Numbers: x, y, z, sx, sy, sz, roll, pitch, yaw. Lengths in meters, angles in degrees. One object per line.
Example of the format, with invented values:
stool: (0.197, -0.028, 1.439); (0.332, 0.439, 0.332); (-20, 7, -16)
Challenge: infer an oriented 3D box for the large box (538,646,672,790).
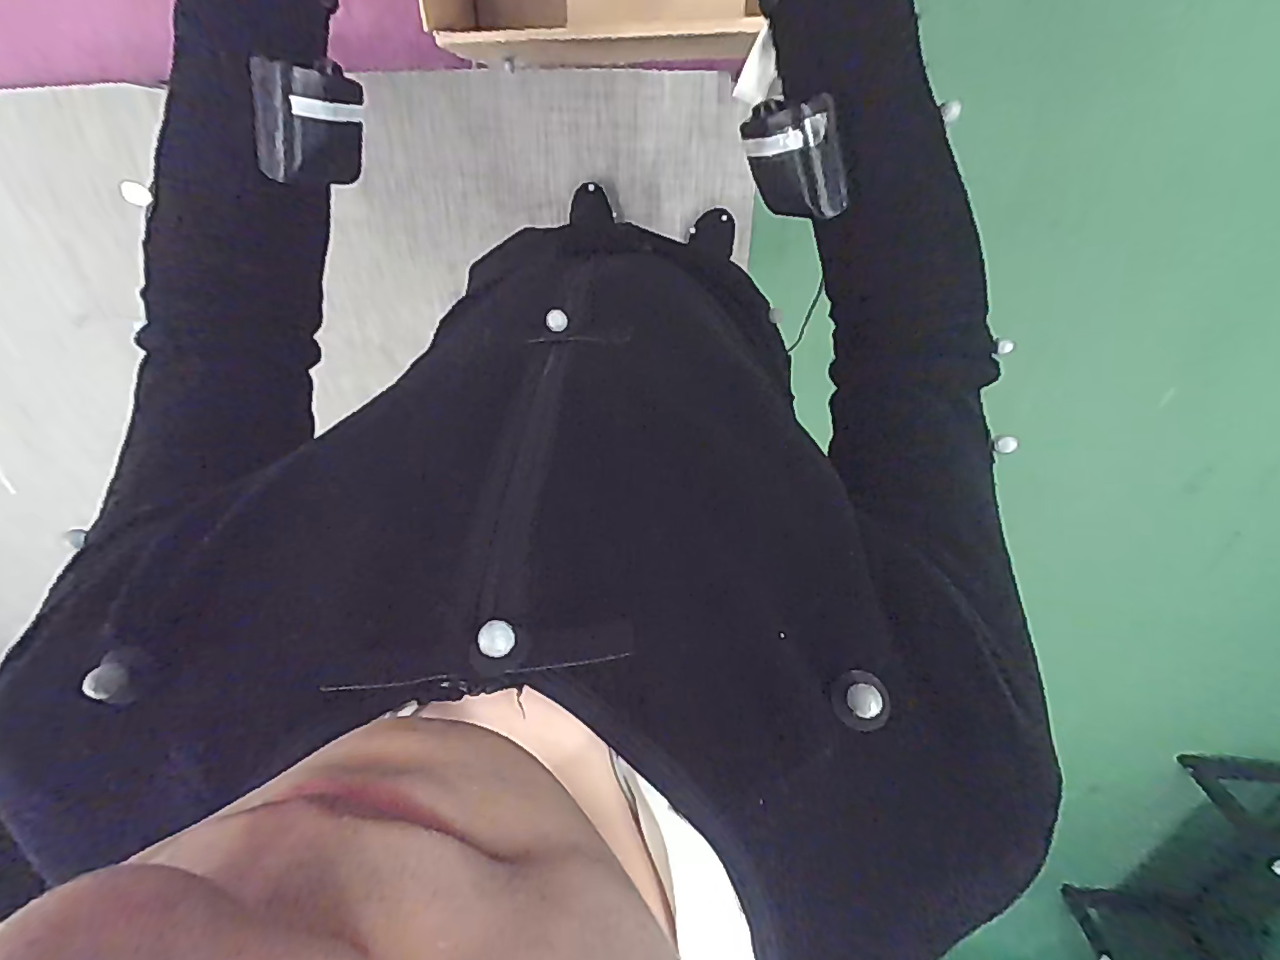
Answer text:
large box: (-0.125, 0.921, 2.101); (0.408, 0.320, 0.320); (-28, 114, 15)
